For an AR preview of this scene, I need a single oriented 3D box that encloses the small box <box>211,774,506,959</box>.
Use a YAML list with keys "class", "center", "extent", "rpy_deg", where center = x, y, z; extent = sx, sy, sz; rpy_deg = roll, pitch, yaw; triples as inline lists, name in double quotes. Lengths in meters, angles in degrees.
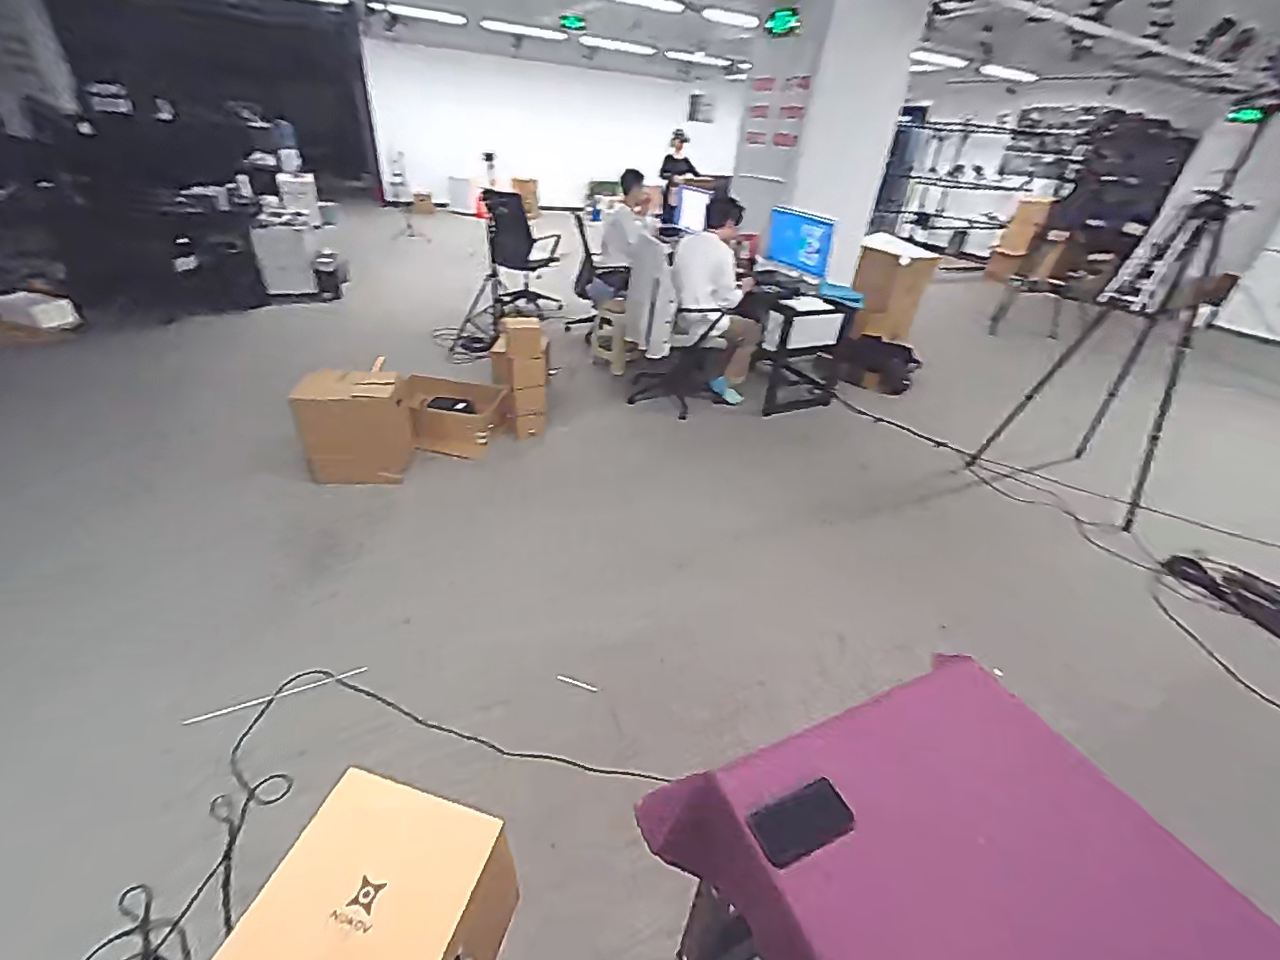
- class: "small box"
  center: [-0.233, 0.412, 0.487]
  extent: [0.168, 0.176, 0.179]
  rpy_deg: [11, 37, 11]
